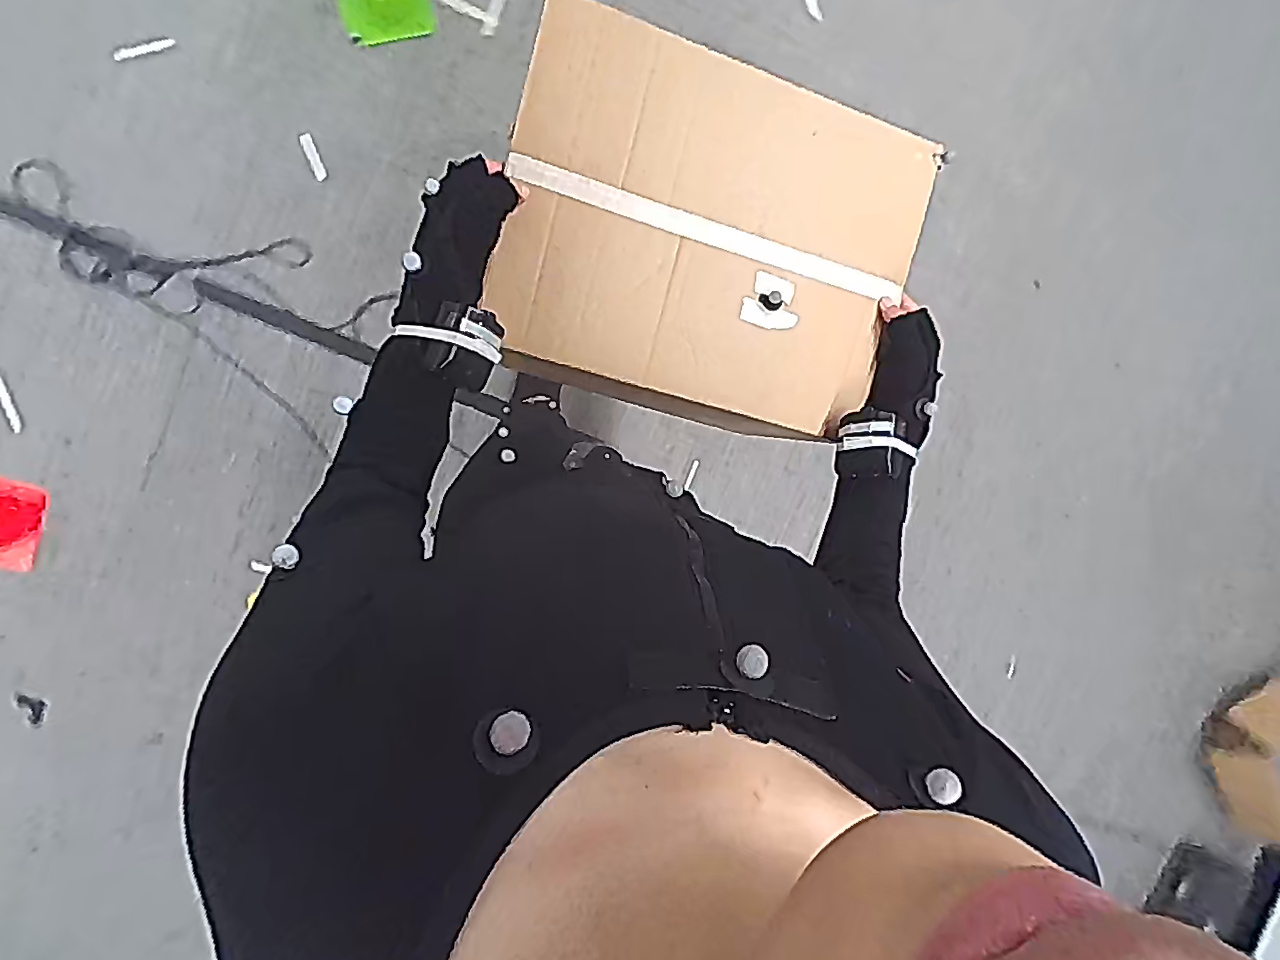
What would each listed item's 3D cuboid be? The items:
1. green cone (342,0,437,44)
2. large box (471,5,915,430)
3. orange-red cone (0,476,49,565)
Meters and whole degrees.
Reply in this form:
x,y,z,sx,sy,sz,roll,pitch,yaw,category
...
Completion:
x,y,z,sx,sy,sz,roll,pitch,yaw,category
-0.567,-1.119,1.090,0.200,0.368,0.202,-16,97,-7,green cone
0.035,-0.253,0.671,0.408,0.320,0.320,12,95,-12,large box
-1.490,0.110,1.103,0.199,0.360,0.198,19,95,-12,orange-red cone
